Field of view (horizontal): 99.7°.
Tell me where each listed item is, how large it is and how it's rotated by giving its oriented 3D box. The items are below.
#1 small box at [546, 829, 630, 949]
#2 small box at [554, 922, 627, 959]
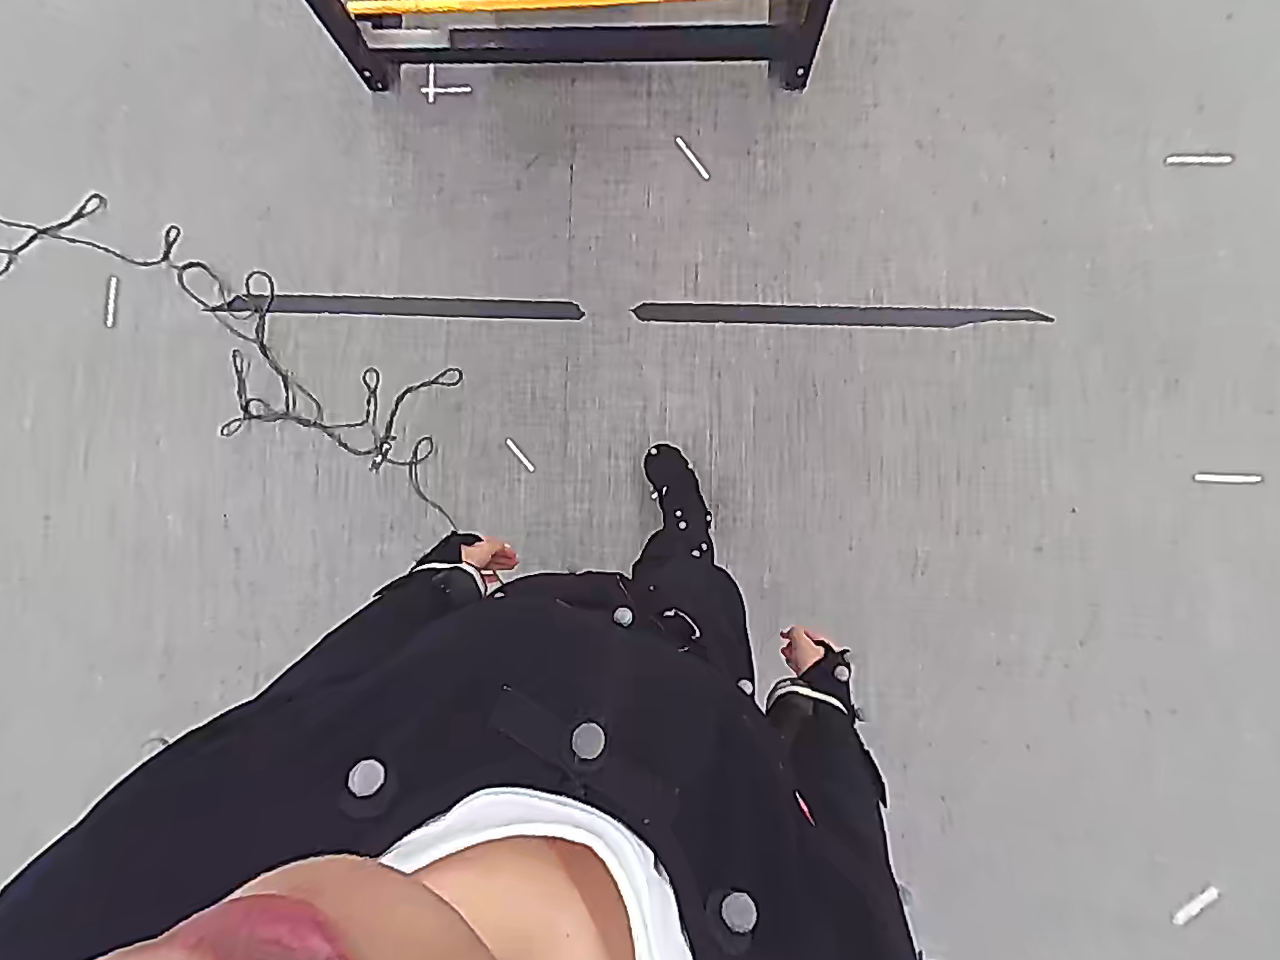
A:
[{"bbox_3d":[-0.118,0.958,1.281,0.179,0.176,0.168,0,87,2],"label":"small box"},{"bbox_3d":[-0.117,1.181,1.265,0.168,0.176,0.179,-1,88,2],"label":"small box"}]
